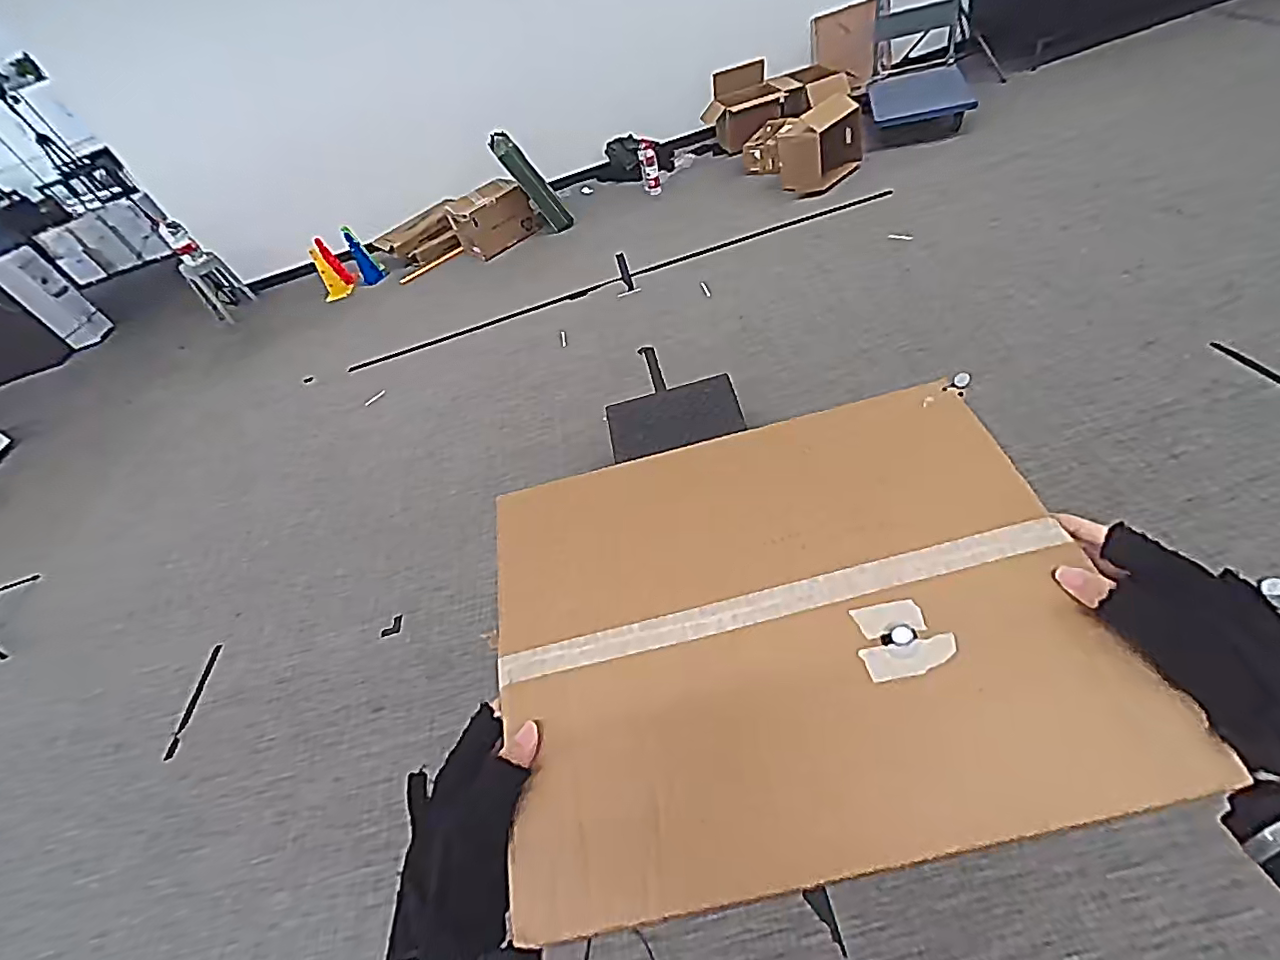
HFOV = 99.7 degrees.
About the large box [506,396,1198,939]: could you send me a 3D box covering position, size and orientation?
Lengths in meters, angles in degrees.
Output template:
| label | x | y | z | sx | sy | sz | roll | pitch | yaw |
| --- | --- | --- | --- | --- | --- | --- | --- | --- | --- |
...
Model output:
| label | x | y | z | sx | sy | sz | roll | pitch | yaw |
| --- | --- | --- | --- | --- | --- | --- | --- | --- | --- |
| large box | 0.123 | 0.180 | 0.517 | 0.408 | 0.320 | 0.320 | -15 | 54 | 2 |
